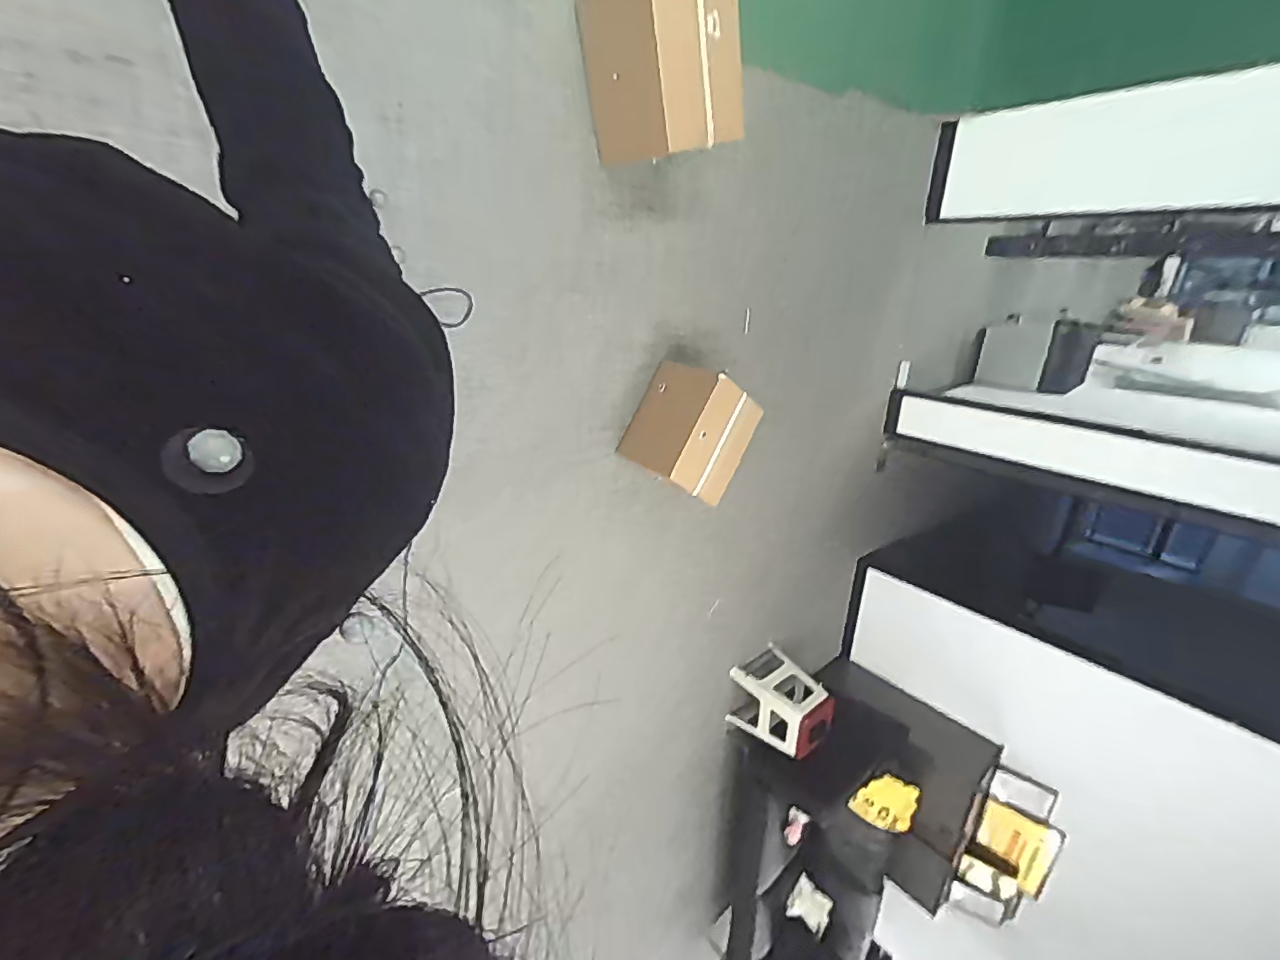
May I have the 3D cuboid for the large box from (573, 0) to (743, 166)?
[{"bbox_3d":[0.056,-1.145,1.507,0.320,0.320,0.408,-30,124,-31],"label":"large box"}]
